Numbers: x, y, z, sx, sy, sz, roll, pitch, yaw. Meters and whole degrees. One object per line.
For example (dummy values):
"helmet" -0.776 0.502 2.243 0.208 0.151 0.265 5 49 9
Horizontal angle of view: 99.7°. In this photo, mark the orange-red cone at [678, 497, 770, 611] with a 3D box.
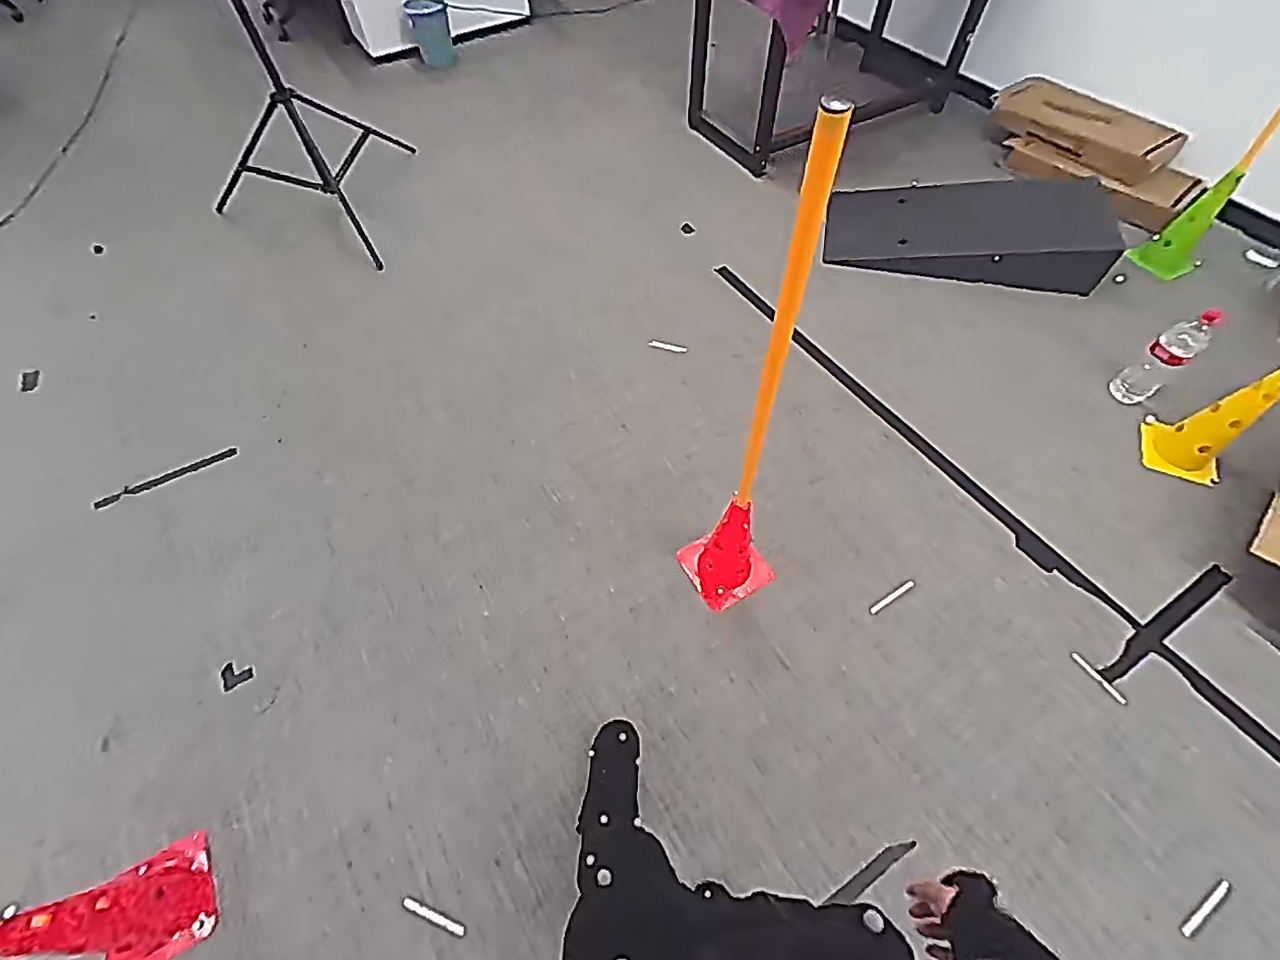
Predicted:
"orange-red cone" 0.224 0.143 1.312 0.199 0.360 0.198 -25 61 -15
